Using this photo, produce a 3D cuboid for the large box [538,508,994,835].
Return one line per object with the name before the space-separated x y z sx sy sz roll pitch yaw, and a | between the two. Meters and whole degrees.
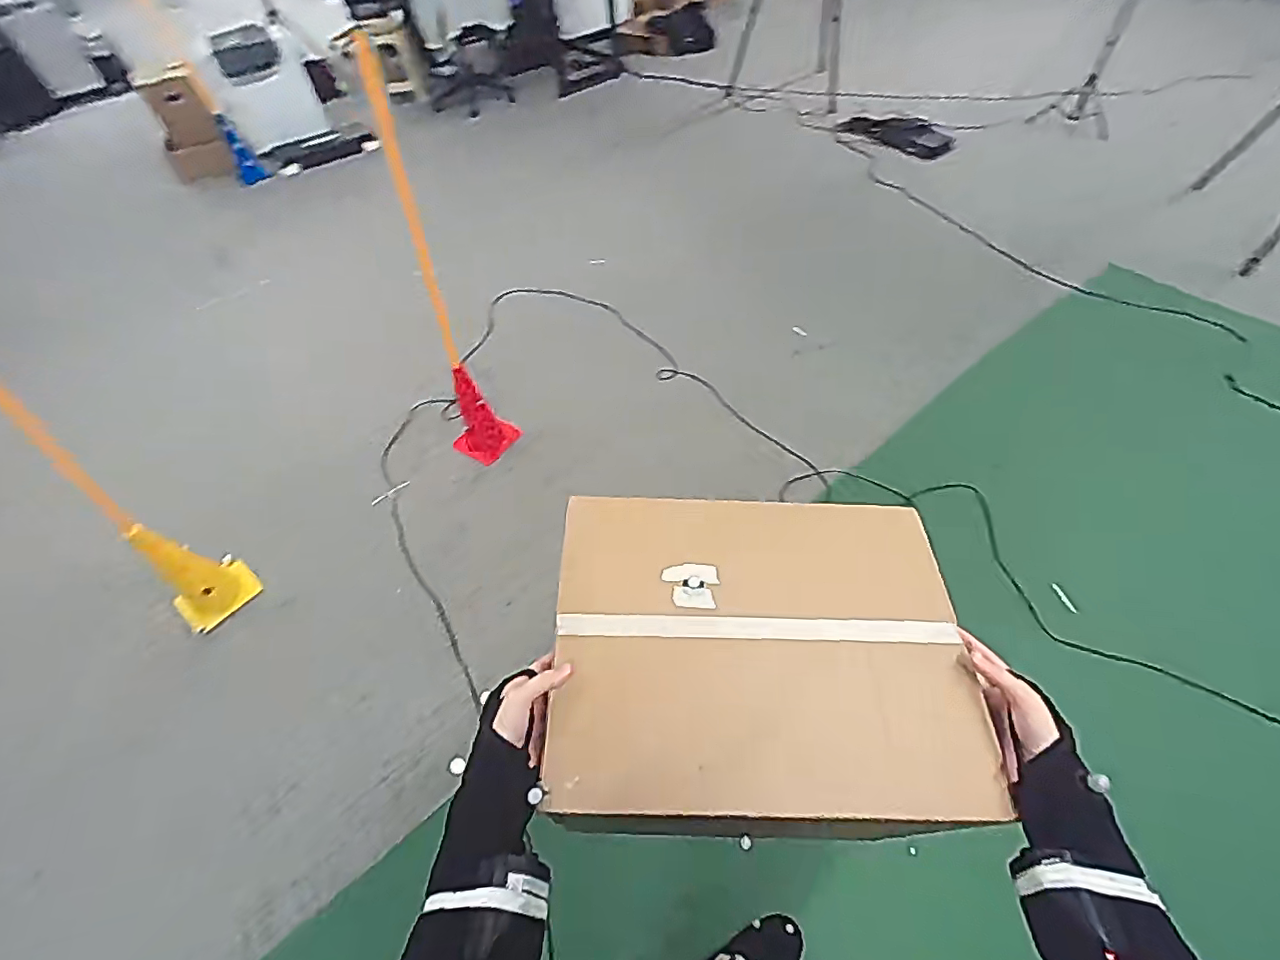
large box | 0.107 0.246 0.668 0.408 0.320 0.320 0 53 -1
